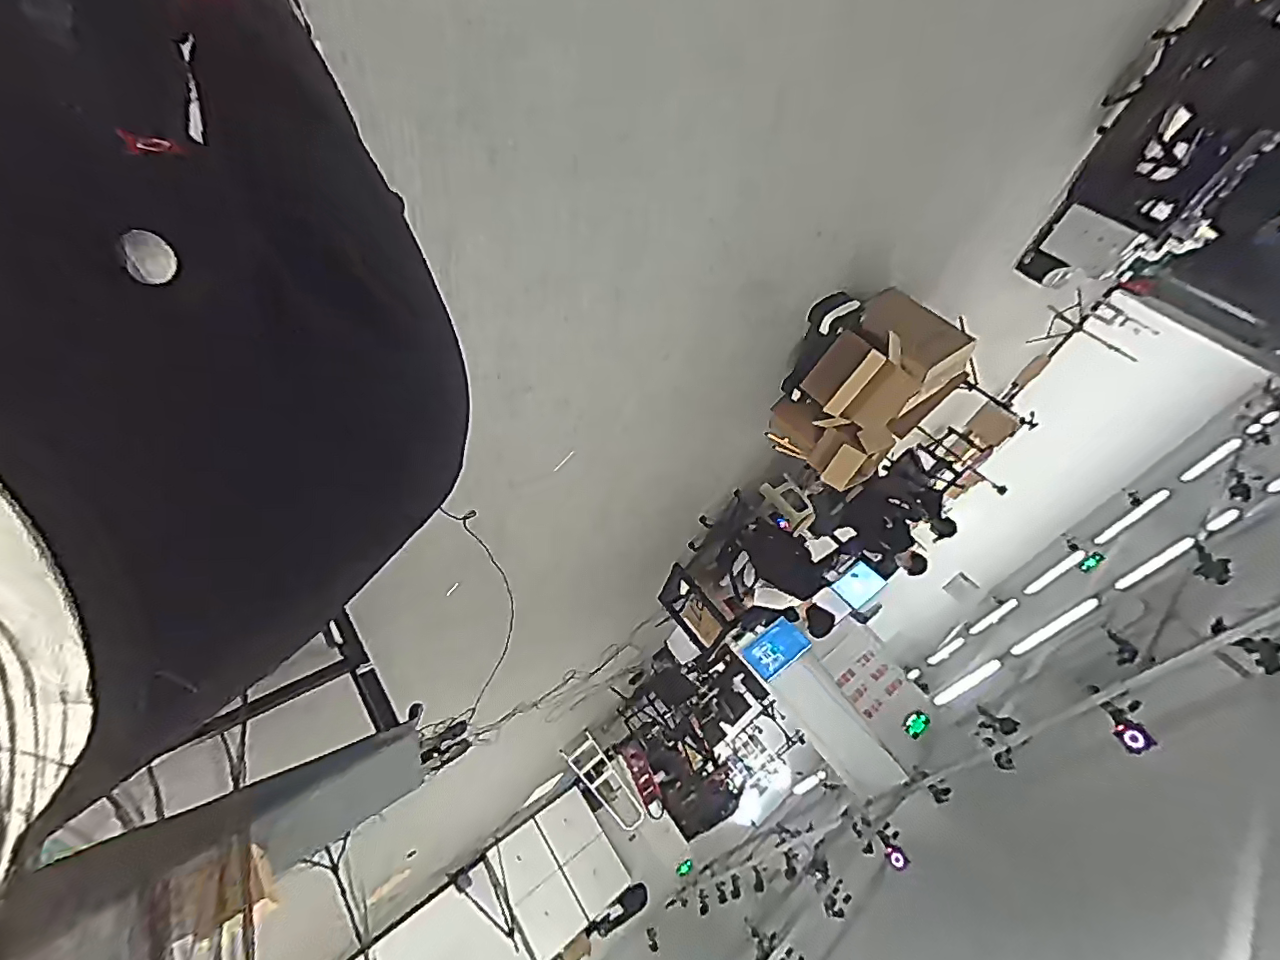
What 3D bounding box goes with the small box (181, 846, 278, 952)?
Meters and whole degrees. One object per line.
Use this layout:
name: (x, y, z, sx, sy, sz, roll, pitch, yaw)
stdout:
small box: (-1.167, 1.188, 1.540, 0.168, 0.176, 0.179, -22, 147, -35)
